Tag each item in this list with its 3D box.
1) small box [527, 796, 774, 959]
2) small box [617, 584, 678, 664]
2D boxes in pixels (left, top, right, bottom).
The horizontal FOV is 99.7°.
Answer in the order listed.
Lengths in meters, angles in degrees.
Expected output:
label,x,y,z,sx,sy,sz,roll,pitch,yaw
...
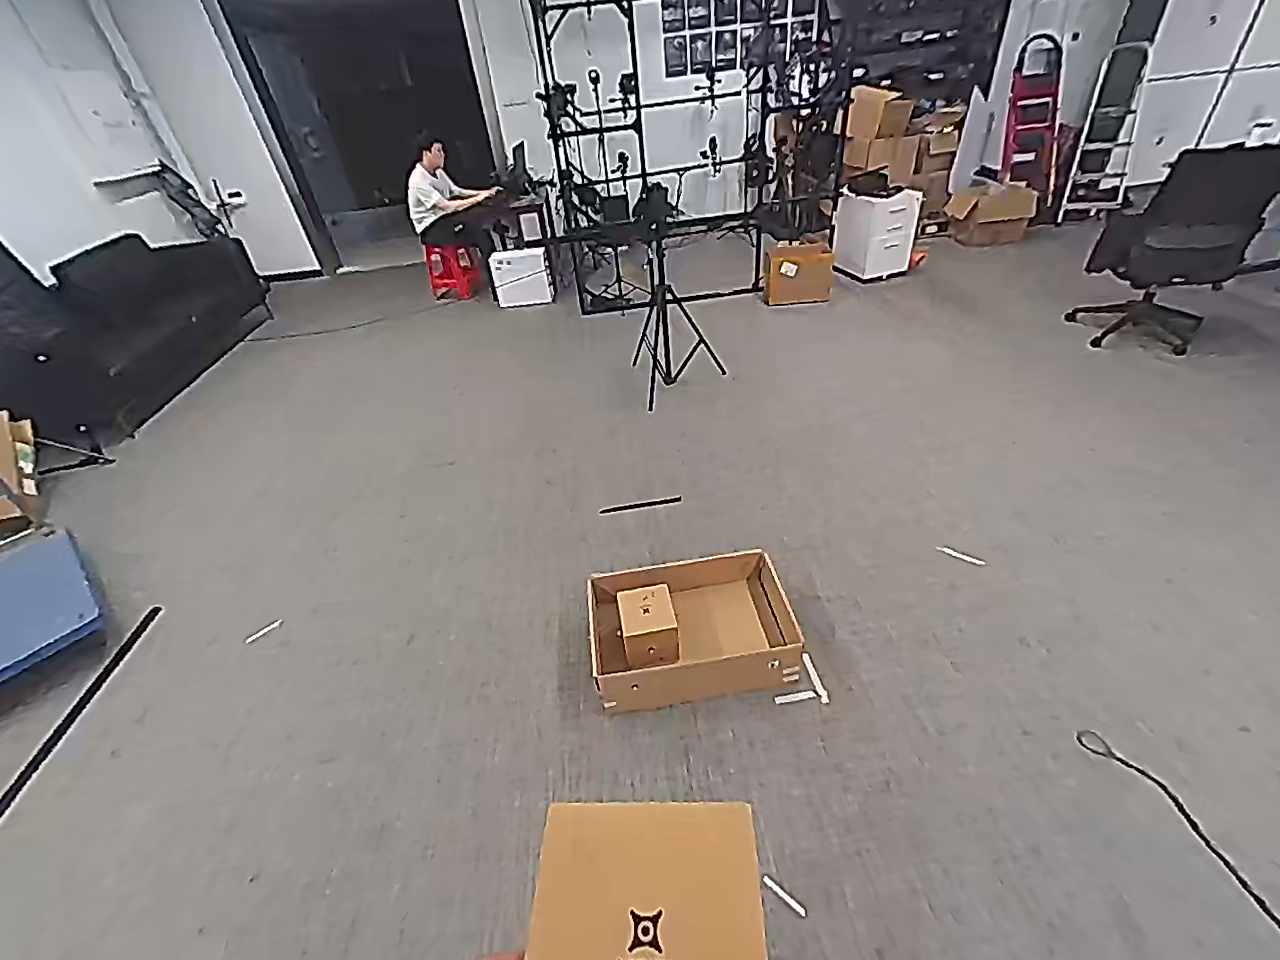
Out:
label,x,y,z,sx,sy,sz,roll,pitch,yaw
small box,0.013,0.371,0.413,0.168,0.176,0.179,-4,37,5
small box,0.025,0.463,1.712,0.168,0.176,0.179,-9,37,-4
